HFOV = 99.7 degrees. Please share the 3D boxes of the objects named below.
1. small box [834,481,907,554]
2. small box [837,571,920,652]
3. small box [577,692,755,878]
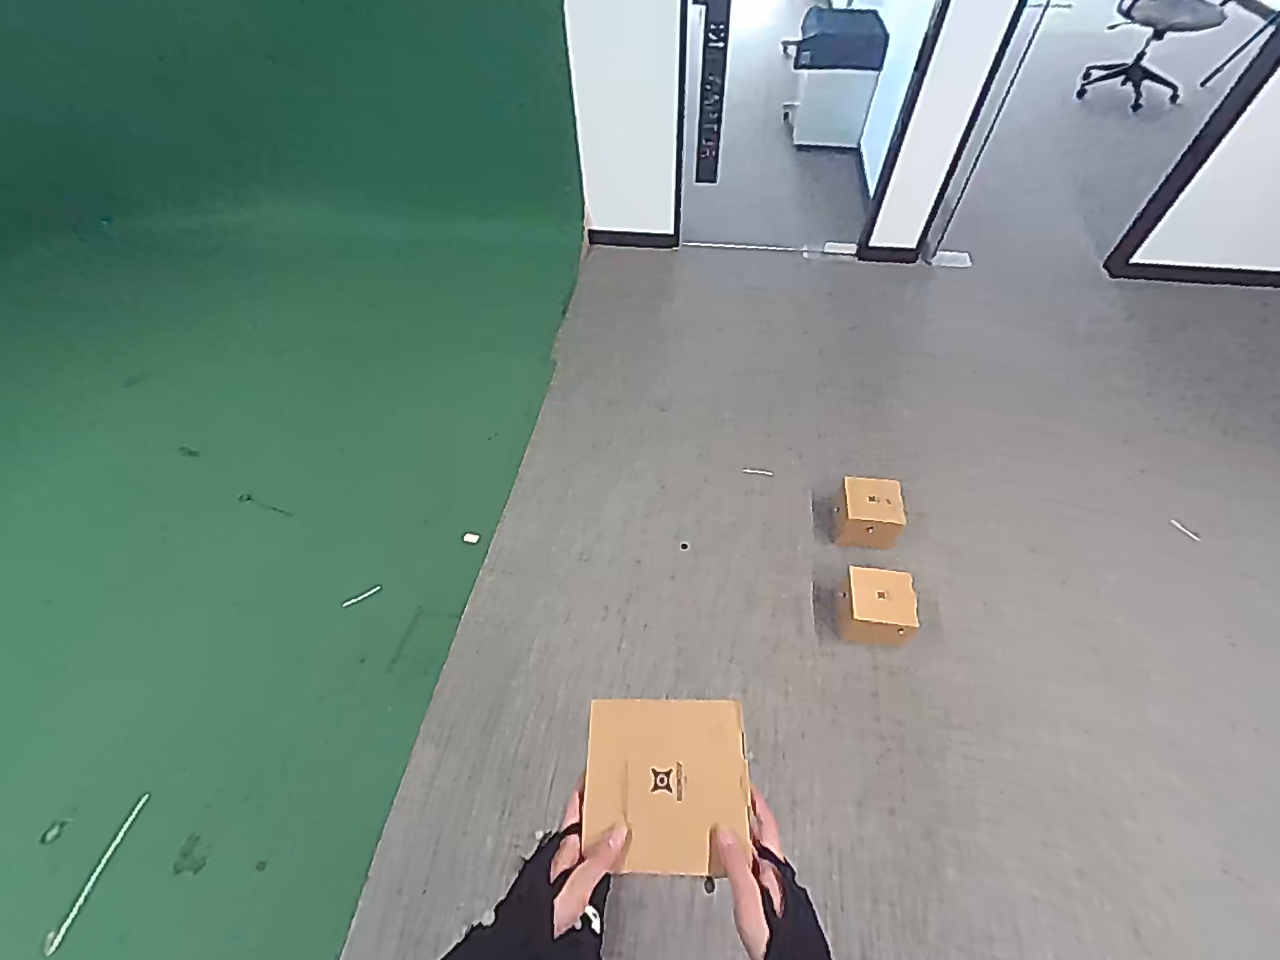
[{"bbox_3d":[0.738,0.126,1.758,0.179,0.176,0.168,6,54,6],"label":"small box"},{"bbox_3d":[0.682,0.384,1.570,0.179,0.176,0.168,6,53,5],"label":"small box"},{"bbox_3d":[0.034,0.358,0.634,0.179,0.176,0.168,-1,54,6],"label":"small box"}]
